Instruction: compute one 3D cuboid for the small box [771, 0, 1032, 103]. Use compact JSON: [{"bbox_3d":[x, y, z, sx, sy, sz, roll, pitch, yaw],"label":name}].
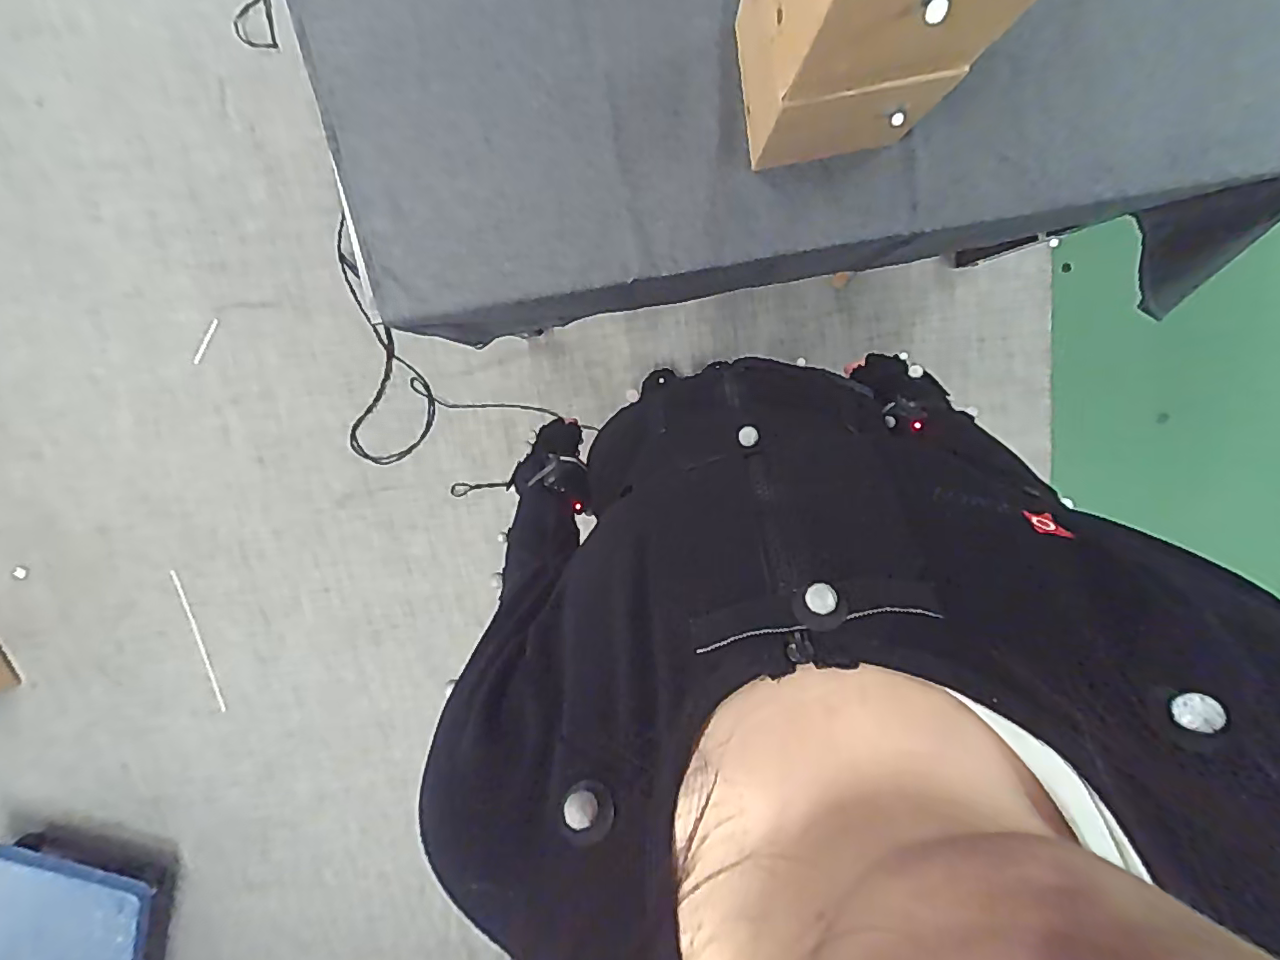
[{"bbox_3d":[0.204,-0.429,0.413,0.179,0.176,0.168,-9,100,4],"label":"small box"}]
